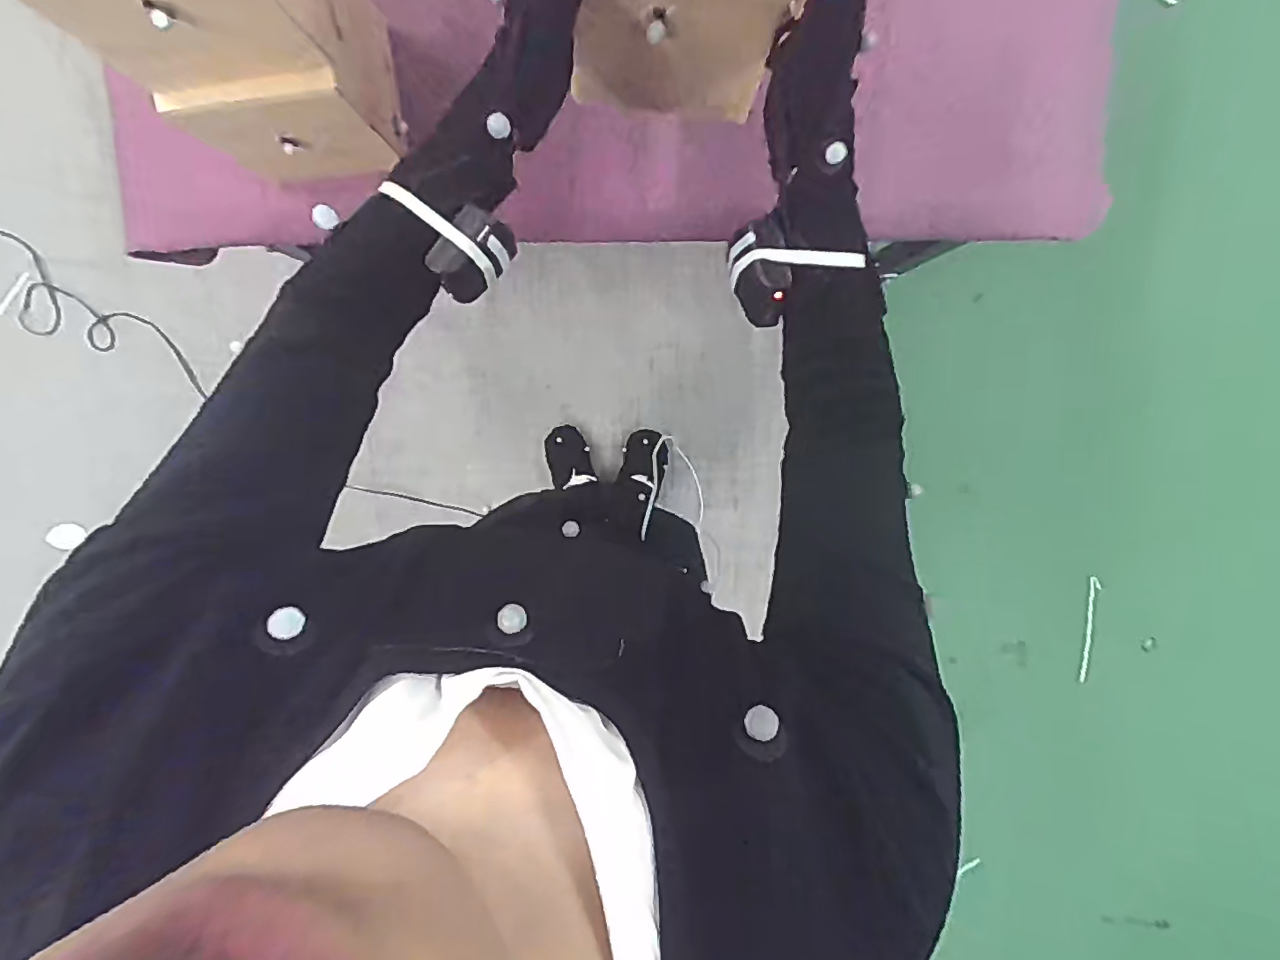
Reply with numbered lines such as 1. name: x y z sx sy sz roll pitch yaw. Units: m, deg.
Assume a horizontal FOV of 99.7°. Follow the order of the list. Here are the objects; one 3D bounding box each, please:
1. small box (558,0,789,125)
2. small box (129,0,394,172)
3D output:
1. small box: 0.032 -0.443 0.468 0.179 0.176 0.168 7 96 -1
2. small box: -0.385 -0.455 0.578 0.179 0.176 0.168 -7 98 0
